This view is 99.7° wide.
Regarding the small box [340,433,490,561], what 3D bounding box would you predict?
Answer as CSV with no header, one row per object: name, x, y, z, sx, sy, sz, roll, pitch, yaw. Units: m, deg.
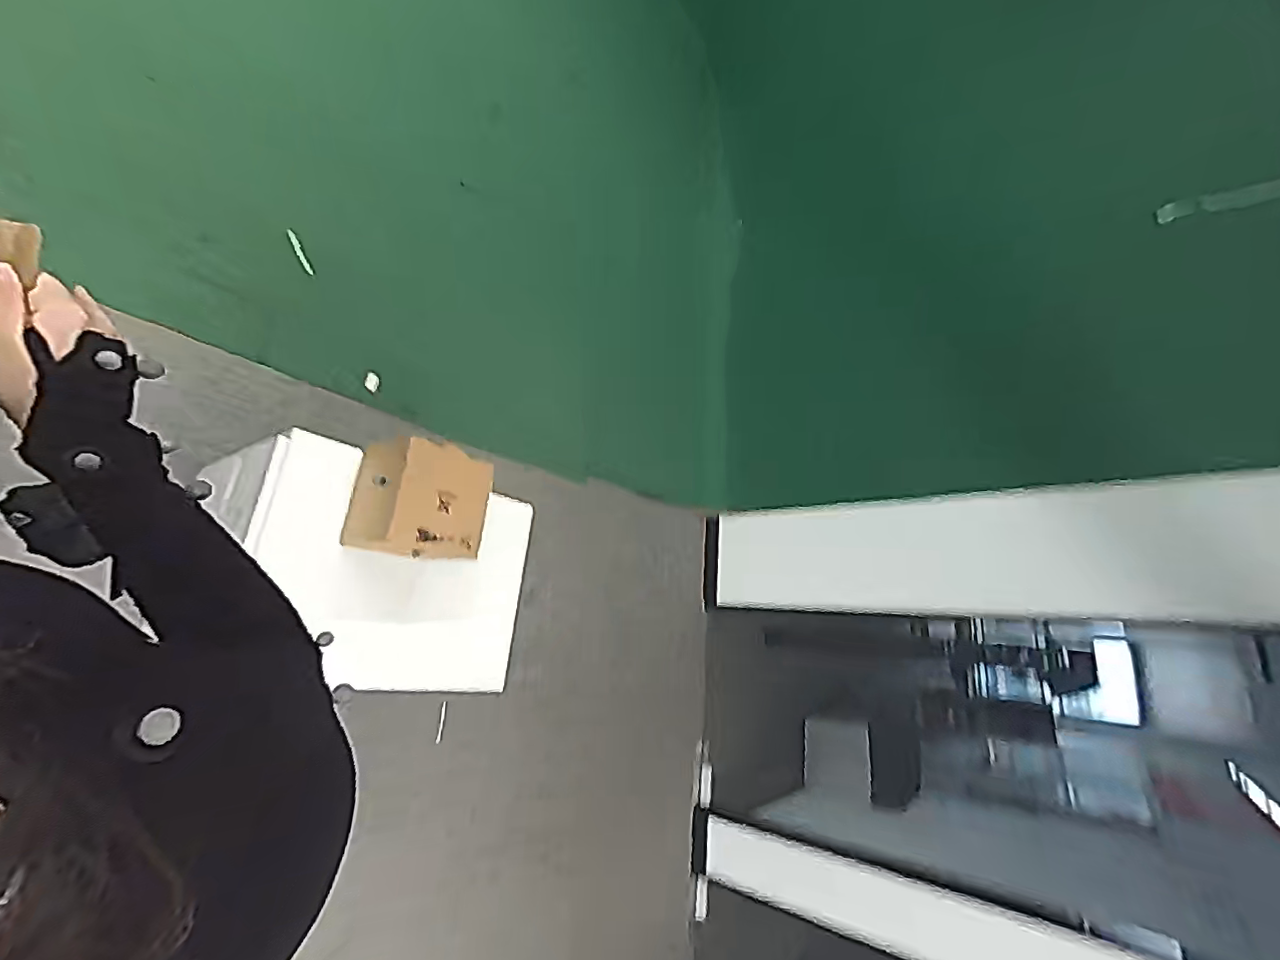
small box,-0.389,0.039,0.937,0.168,0.176,0.179,25,65,-47
